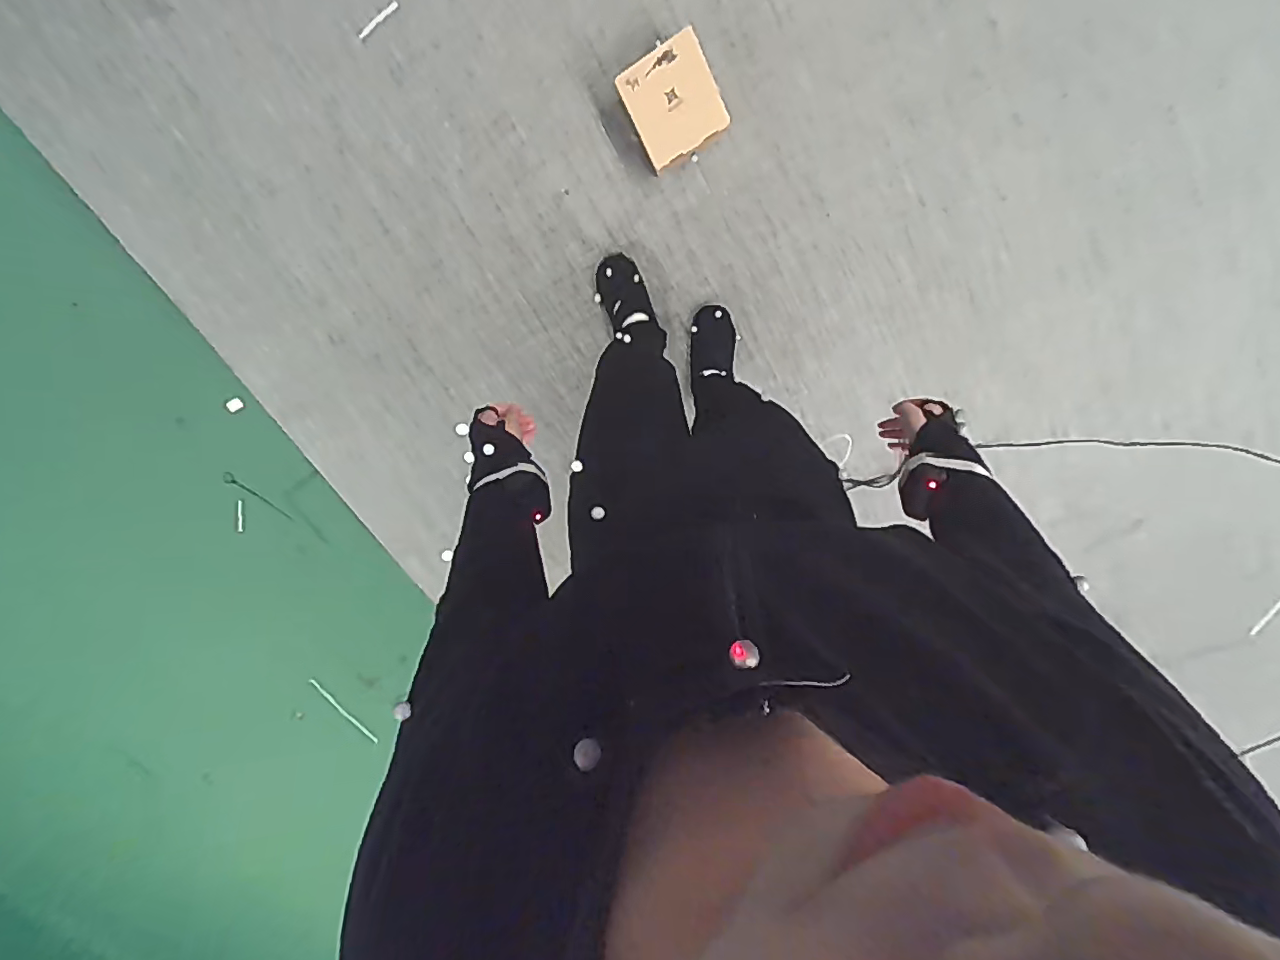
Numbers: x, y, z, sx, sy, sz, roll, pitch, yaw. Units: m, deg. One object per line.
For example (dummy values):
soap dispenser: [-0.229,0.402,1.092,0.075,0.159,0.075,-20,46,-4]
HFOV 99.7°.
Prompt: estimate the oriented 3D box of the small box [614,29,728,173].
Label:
small box: [0.066,-0.750,1.096,0.168,0.176,0.179,-25,111,15]
